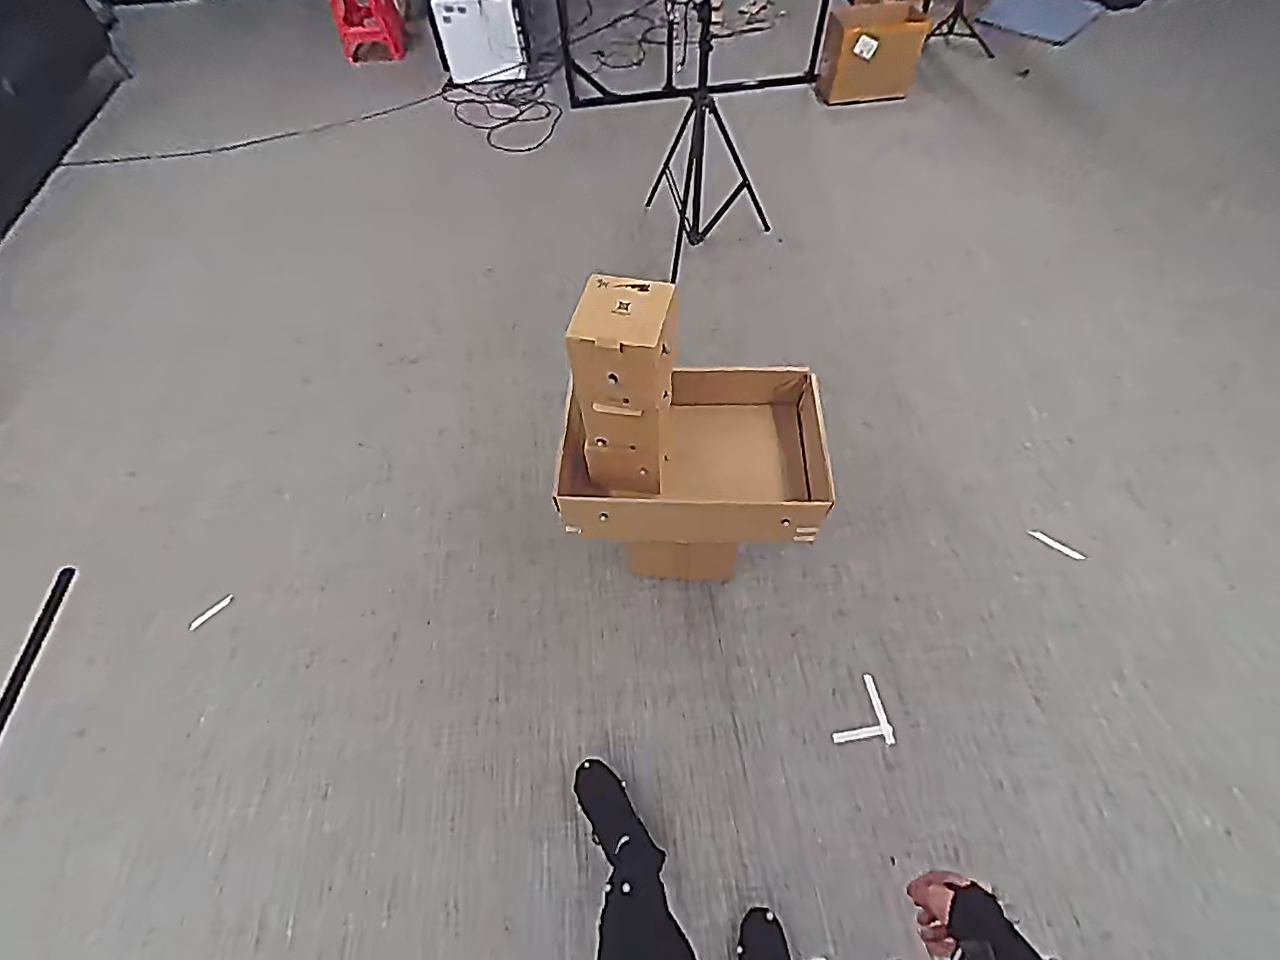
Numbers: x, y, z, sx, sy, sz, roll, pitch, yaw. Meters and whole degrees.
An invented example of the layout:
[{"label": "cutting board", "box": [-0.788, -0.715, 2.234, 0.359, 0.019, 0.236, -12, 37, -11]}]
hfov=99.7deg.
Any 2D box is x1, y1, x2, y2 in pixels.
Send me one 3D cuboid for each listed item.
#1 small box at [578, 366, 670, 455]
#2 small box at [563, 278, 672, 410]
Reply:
[{"label": "small box", "box": [-0.027, -0.175, 1.183, 0.168, 0.176, 0.179, 7, 58, 7]}, {"label": "small box", "box": [-0.033, -0.257, 1.040, 0.168, 0.176, 0.179, 11, 60, 9]}]
